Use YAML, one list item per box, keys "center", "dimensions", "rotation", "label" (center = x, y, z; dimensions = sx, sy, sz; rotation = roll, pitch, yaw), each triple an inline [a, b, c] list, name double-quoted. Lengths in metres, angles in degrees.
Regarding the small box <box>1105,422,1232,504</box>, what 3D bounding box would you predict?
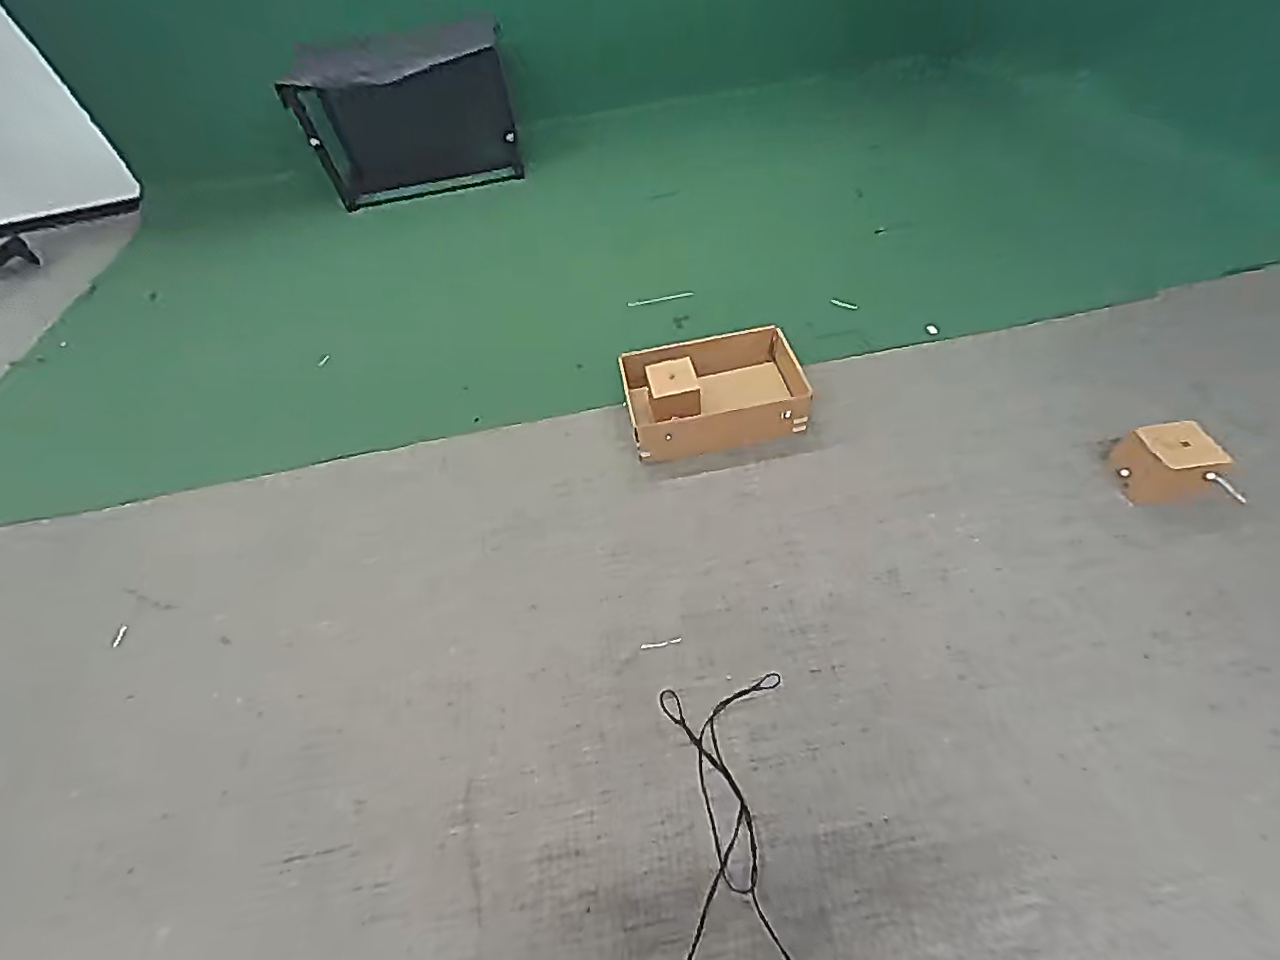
- center: [1.549, -0.047, 1.600]
  dimensions: [0.179, 0.176, 0.168]
  rotation: [-7, 51, 2]
  label: "small box"
